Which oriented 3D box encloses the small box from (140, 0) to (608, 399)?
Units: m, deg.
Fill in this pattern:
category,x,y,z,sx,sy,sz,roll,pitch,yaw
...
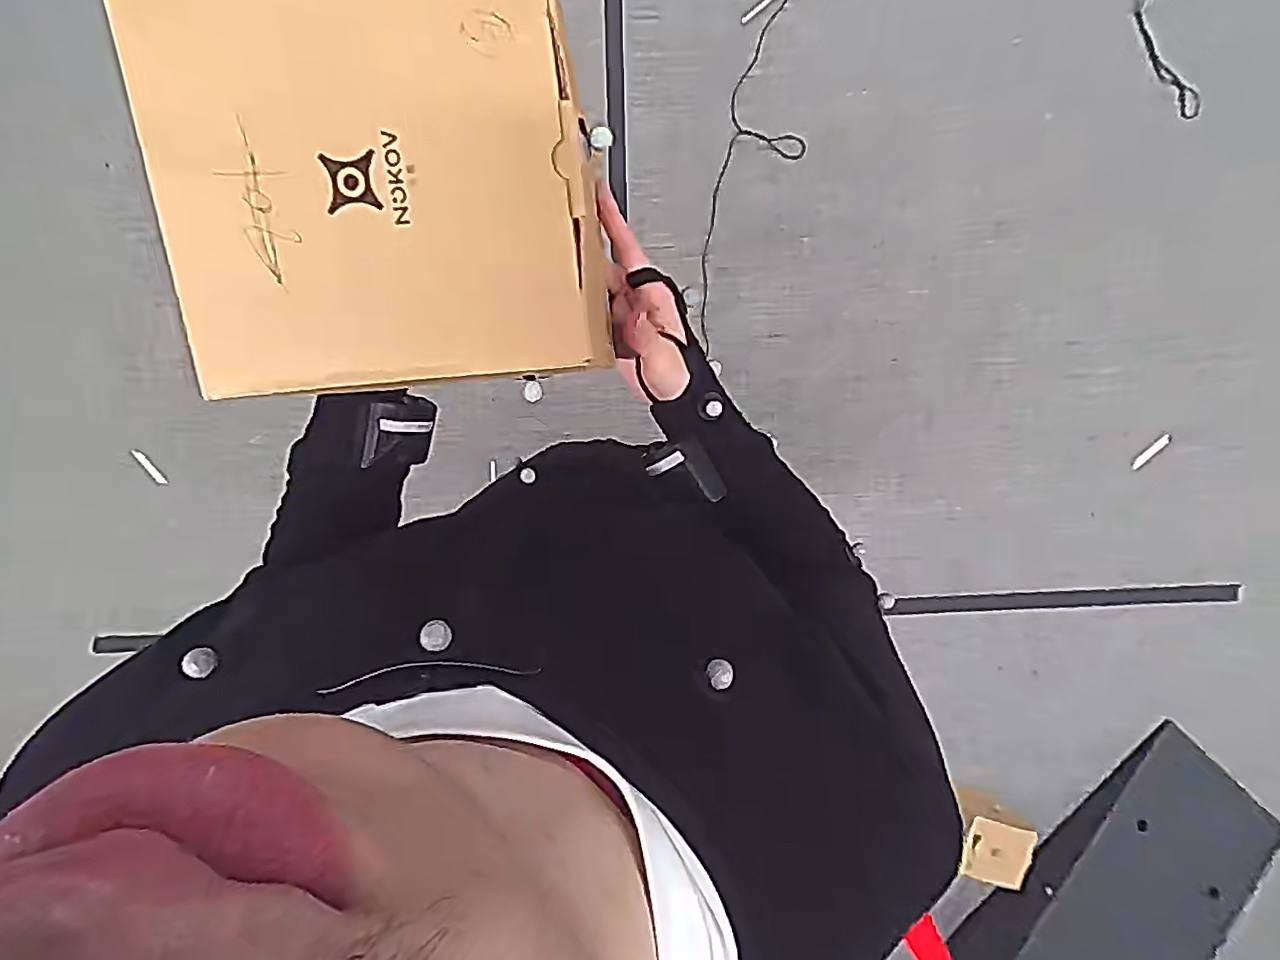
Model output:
category,x,y,z,sx,sy,sz,roll,pitch,yaw
small box,-0.112,-0.139,0.313,0.179,0.176,0.168,-5,100,2
